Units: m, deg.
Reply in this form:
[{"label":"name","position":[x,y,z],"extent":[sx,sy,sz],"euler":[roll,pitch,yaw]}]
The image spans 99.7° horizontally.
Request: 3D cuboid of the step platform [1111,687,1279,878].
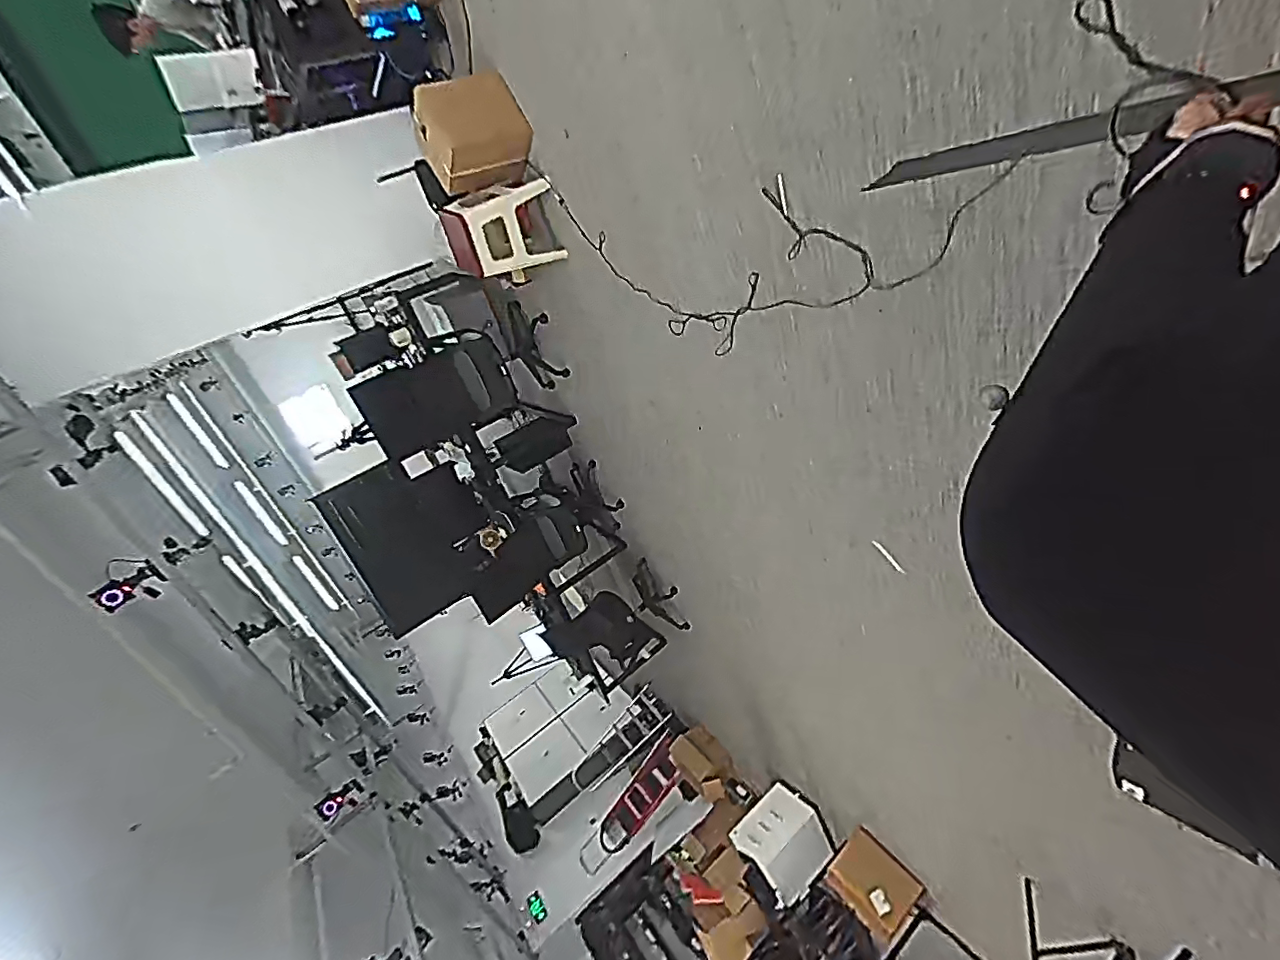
[{"label":"step platform","position":[1.553,0.799,1.265],"extent":[0.684,0.204,0.286],"euler":[21,139,53]}]
